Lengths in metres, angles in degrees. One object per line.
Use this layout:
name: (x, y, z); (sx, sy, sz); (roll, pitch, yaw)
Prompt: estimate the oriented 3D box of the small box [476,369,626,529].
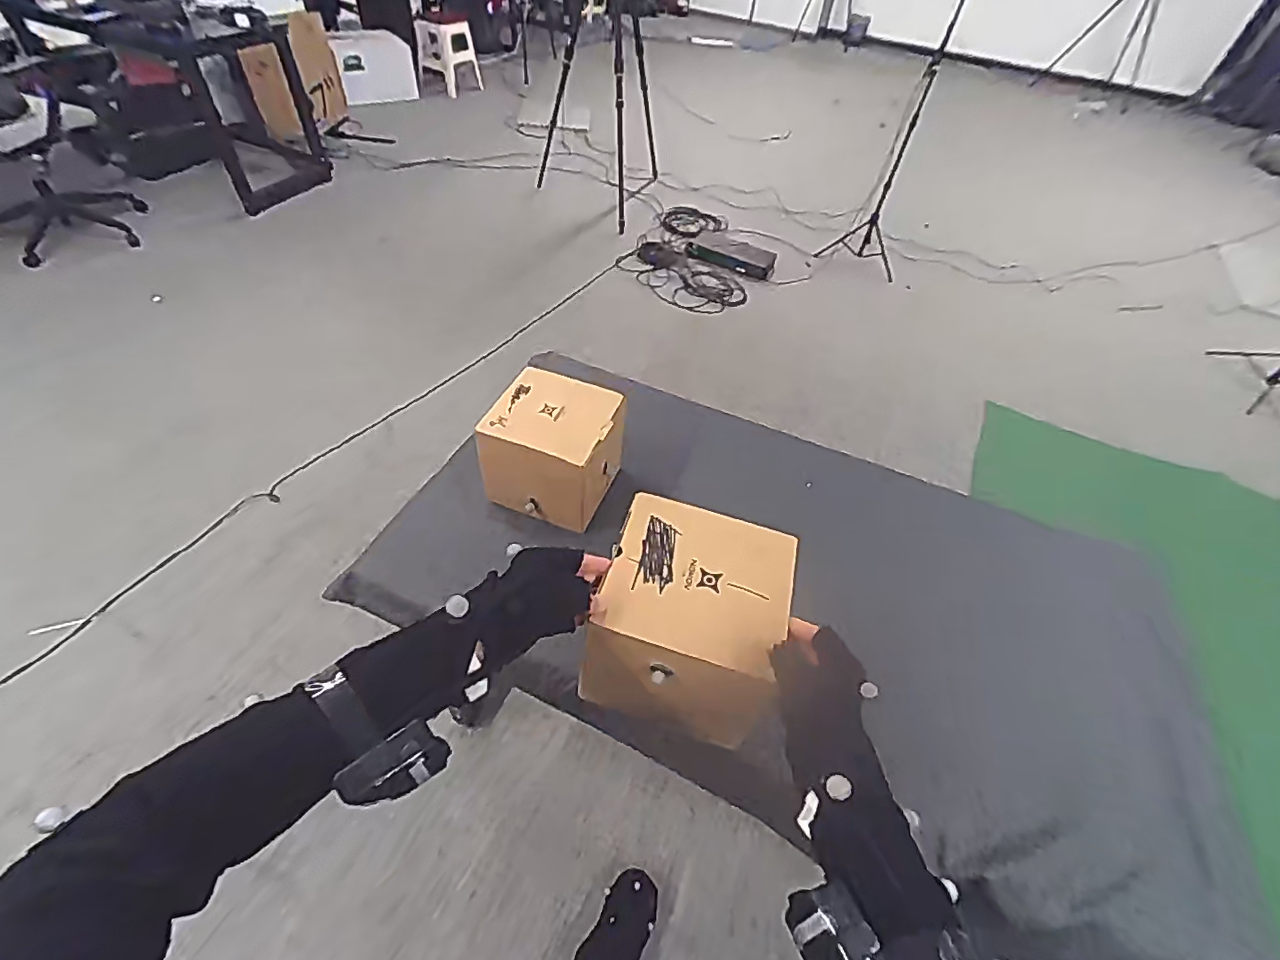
small box: (-0.138, -0.045, 0.879); (0.179, 0.176, 0.168); (19, 50, 9)
